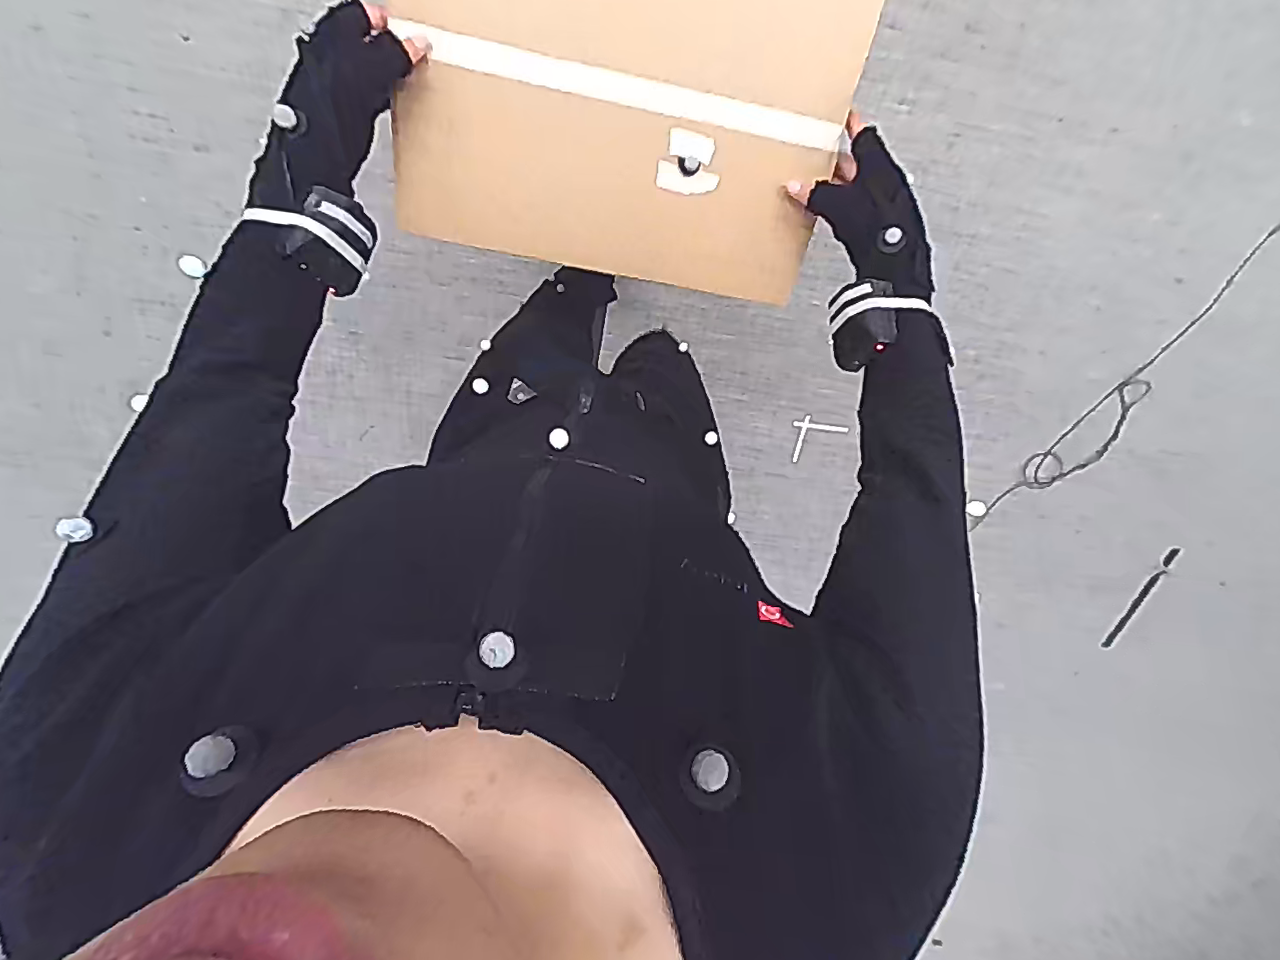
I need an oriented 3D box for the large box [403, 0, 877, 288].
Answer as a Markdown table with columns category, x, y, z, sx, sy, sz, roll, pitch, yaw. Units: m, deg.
| category | x | y | z | sx | sy | sz | roll | pitch | yaw |
| --- | --- | --- | --- | --- | --- | --- | --- | --- | --- |
| large box | -0.016 | -0.437 | 0.611 | 0.408 | 0.320 | 0.320 | 8 | 122 | -8 |
